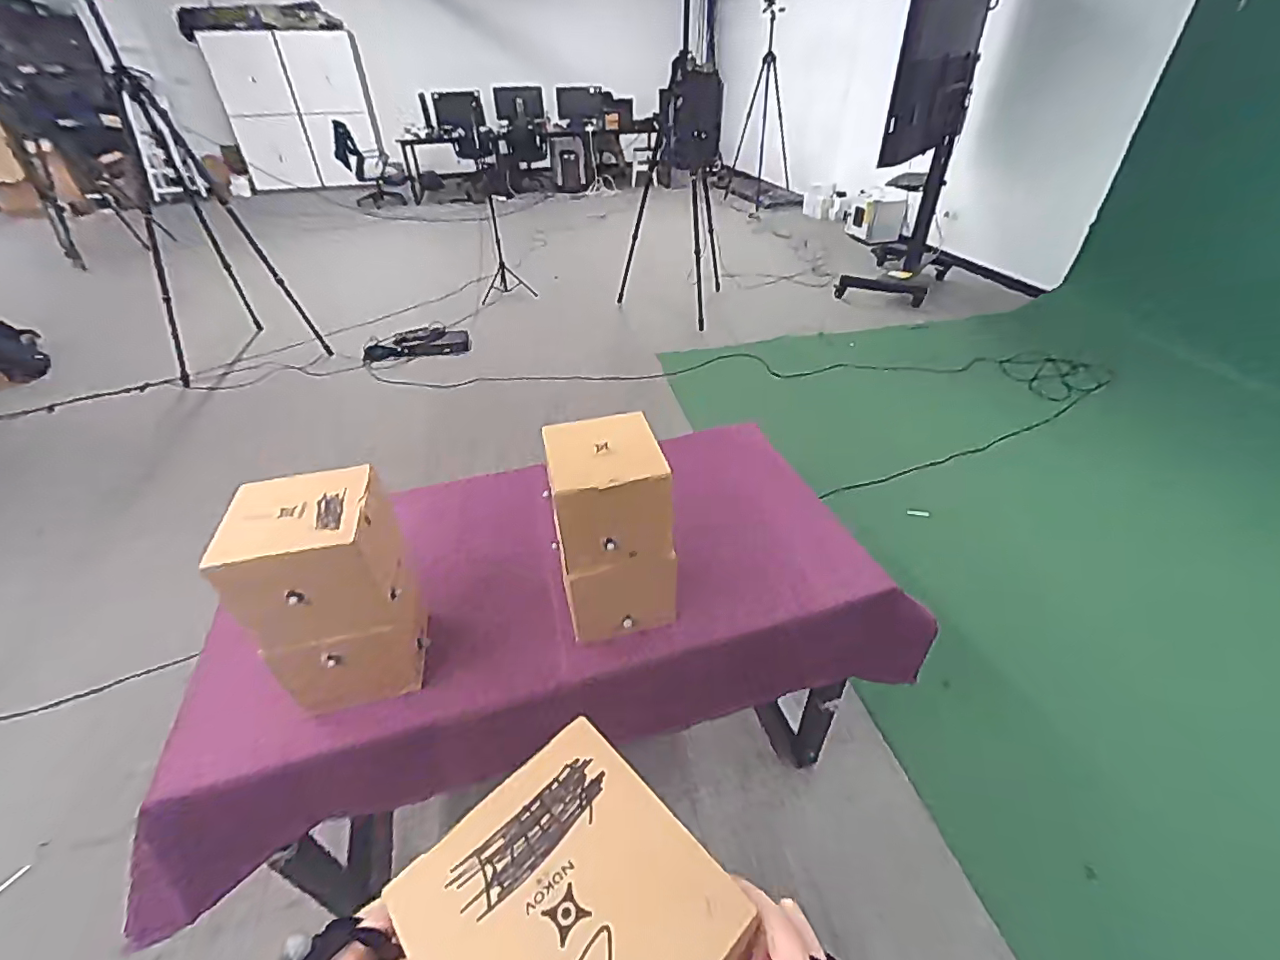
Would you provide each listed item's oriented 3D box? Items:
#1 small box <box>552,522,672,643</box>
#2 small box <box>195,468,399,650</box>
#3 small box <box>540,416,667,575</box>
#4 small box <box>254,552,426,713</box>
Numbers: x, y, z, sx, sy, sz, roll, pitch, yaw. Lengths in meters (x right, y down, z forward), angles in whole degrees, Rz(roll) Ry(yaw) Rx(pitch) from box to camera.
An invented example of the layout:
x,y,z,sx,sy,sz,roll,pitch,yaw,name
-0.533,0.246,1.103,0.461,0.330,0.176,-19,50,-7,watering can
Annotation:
x,y,z,sx,sy,sz,roll,pitch,yaw,name
-0.053,0.157,0.947,0.179,0.176,0.168,-10,38,-12,small box
-0.452,0.108,0.753,0.179,0.176,0.168,-10,39,-11,small box
-0.060,0.022,0.855,0.168,0.176,0.179,-10,40,-11,small box
-0.454,0.240,0.852,0.179,0.176,0.168,-9,39,-11,small box
